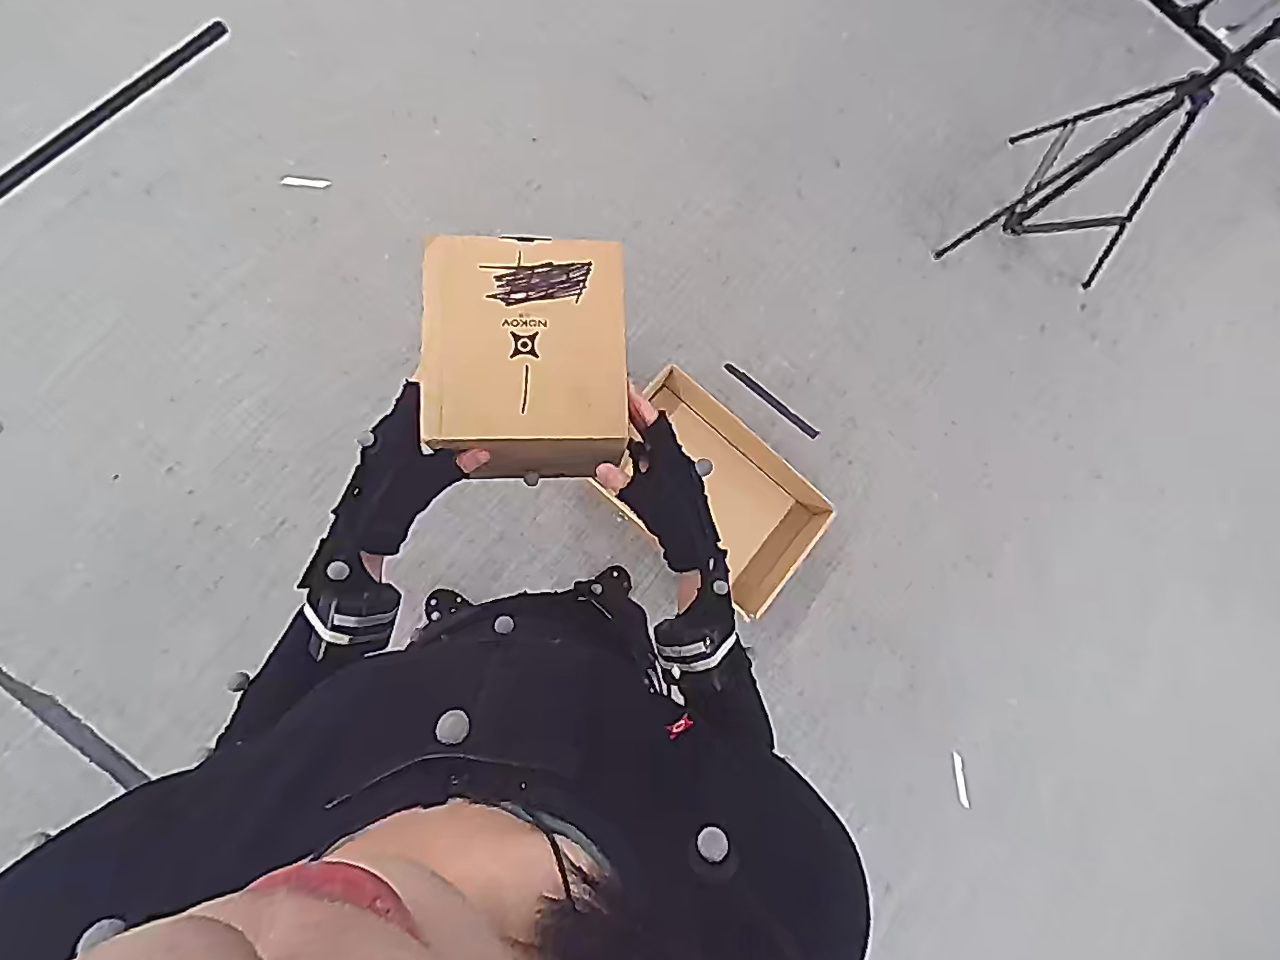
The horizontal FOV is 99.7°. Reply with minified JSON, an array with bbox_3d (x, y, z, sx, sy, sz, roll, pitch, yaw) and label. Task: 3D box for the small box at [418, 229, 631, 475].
[{"bbox_3d":[-0.100,-0.106,0.512,0.168,0.176,0.179,-1,81,-6],"label":"small box"}]
